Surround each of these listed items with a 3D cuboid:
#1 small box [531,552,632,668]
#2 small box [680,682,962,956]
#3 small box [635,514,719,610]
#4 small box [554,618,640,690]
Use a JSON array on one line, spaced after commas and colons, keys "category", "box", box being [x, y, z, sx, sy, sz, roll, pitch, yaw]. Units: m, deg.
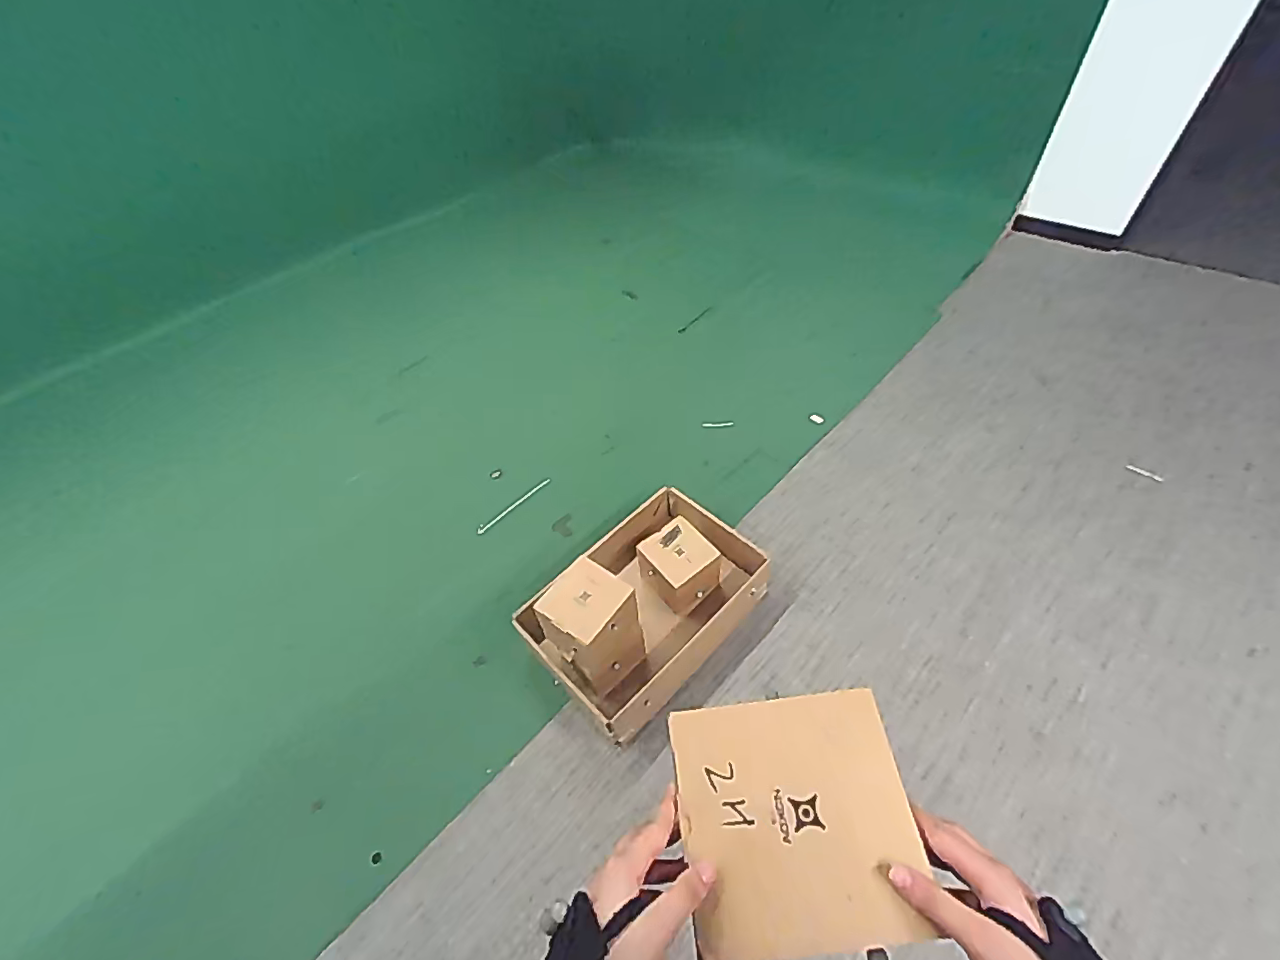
[{"category": "small box", "box": [-0.128, 0.313, 1.288, 0.168, 0.176, 0.179, 29, 56, 24]}, {"category": "small box", "box": [0.131, 0.289, 0.475, 0.179, 0.176, 0.168, -7, 55, 0]}, {"category": "small box", "box": [0.103, 0.238, 1.546, 0.168, 0.176, 0.179, -33, 56, -20]}, {"category": "small box", "box": [-0.115, 0.416, 1.416, 0.179, 0.176, 0.168, -38, 57, -23]}]
